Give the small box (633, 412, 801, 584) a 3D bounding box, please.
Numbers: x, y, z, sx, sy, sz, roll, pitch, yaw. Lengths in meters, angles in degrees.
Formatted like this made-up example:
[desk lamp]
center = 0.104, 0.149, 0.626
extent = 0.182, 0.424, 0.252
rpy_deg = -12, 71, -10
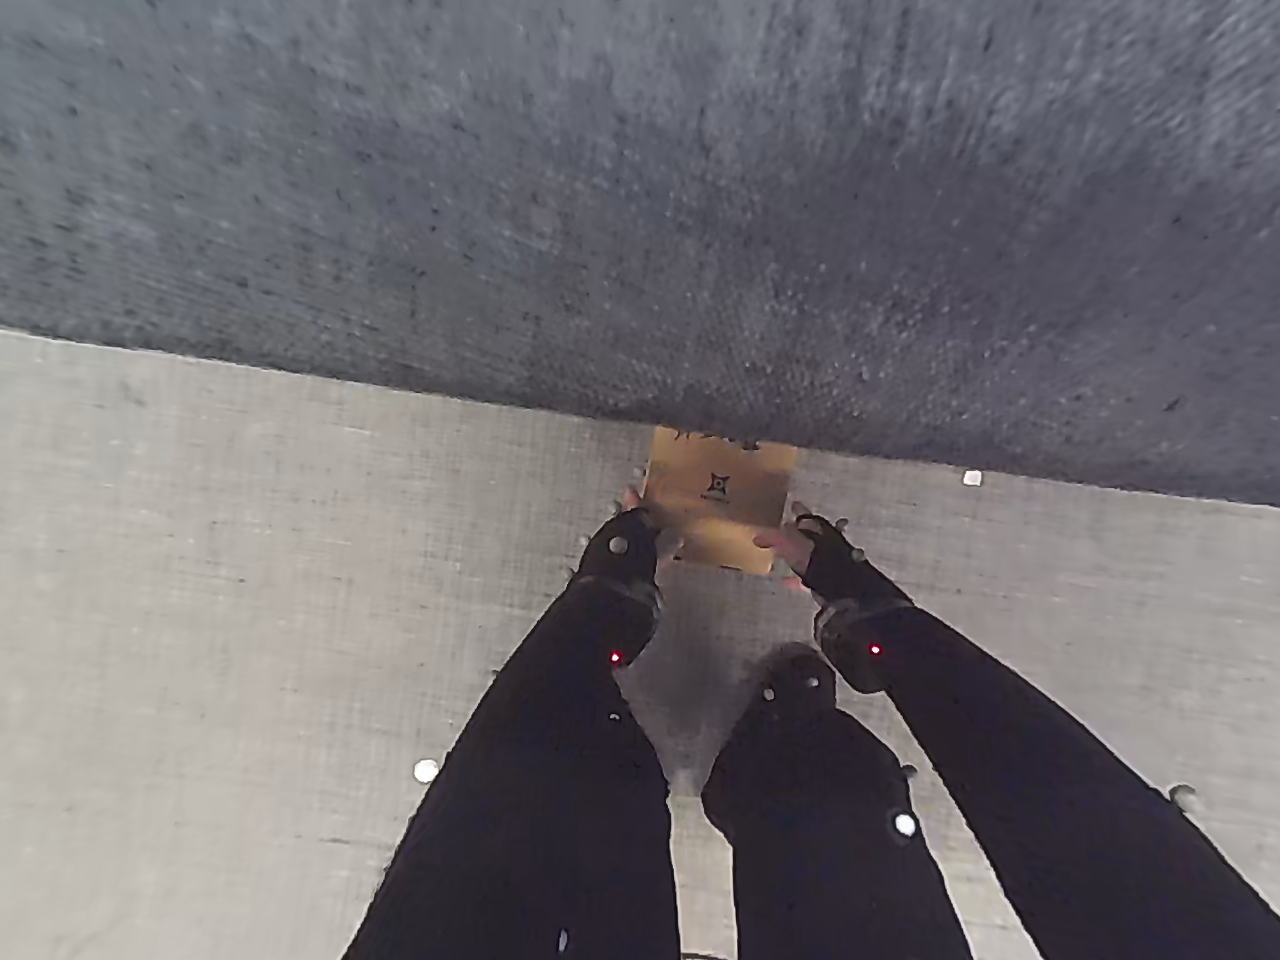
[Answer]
[small box]
center = 0.090, 0.017, 0.700
extent = 0.168, 0.176, 0.179
rpy_deg = 11, 93, 0
